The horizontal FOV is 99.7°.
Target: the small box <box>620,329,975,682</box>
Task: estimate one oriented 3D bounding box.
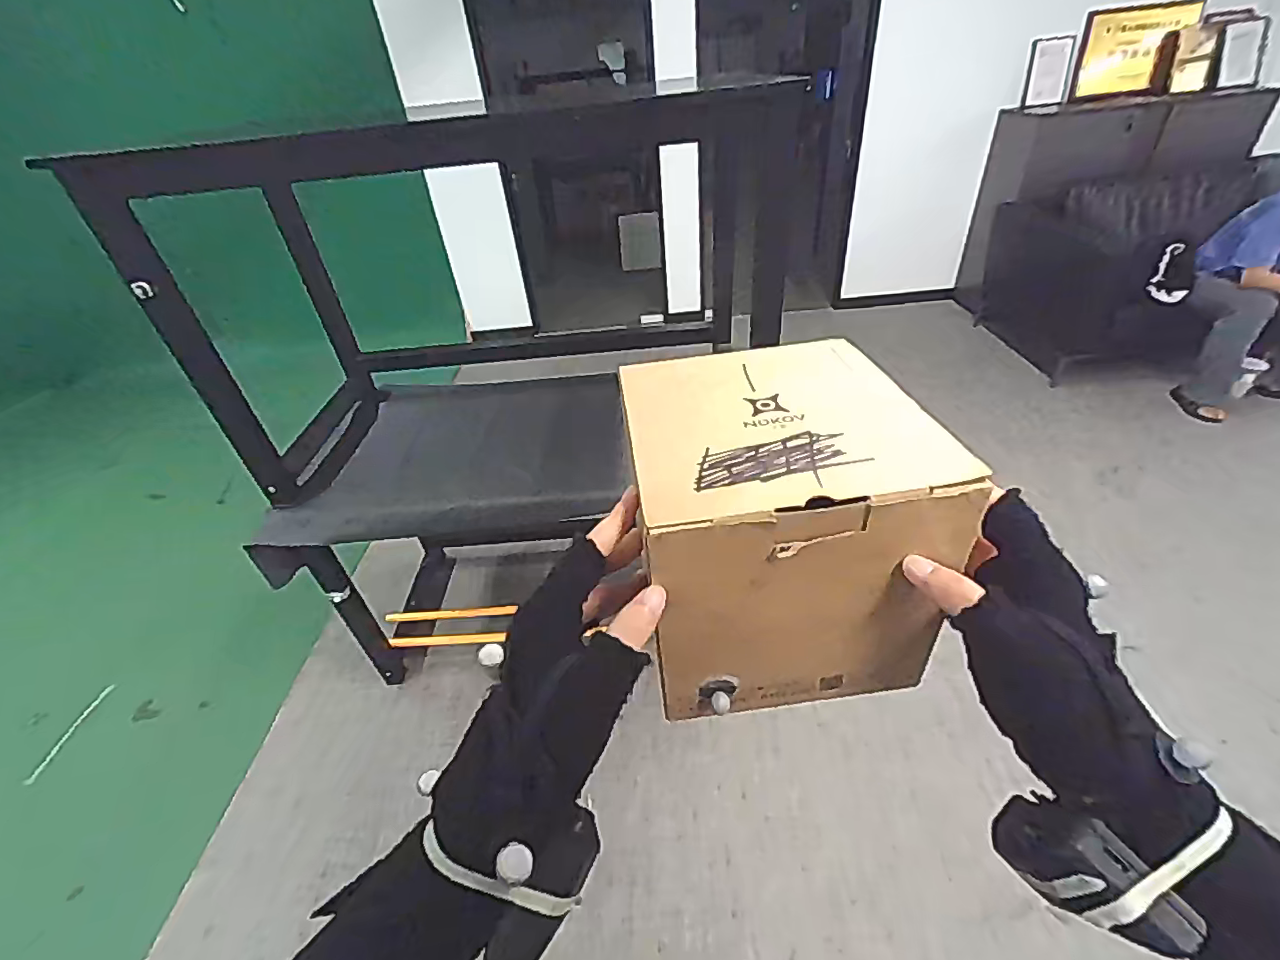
[{"bbox_3d":[0.081,0.017,0.368,0.168,0.176,0.179,-7,35,-1],"label":"small box"}]
